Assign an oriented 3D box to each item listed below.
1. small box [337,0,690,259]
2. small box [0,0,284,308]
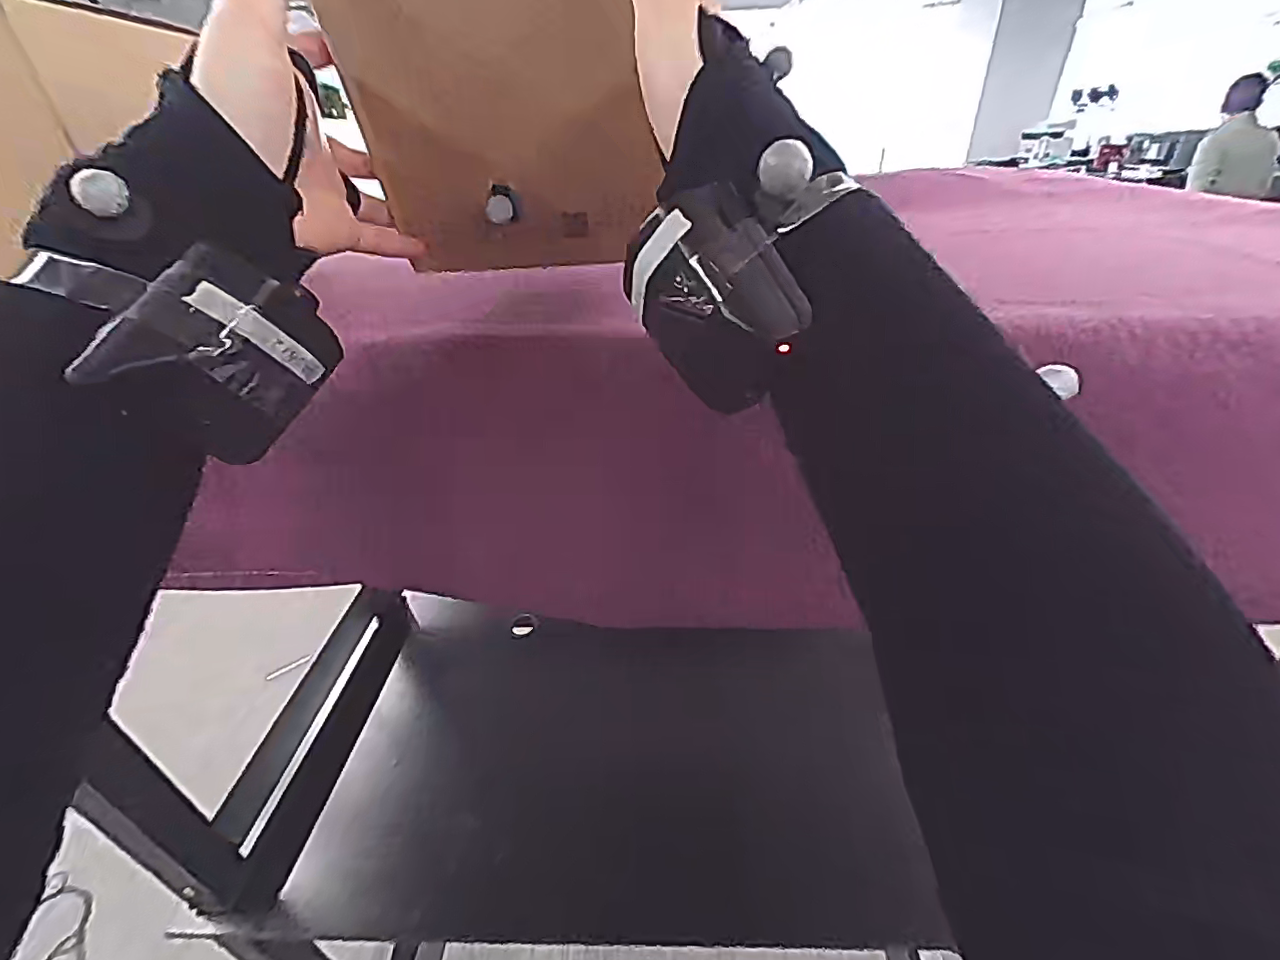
[{"bbox_3d":[-0.059,-0.251,0.319,0.168,0.176,0.179,-3,49,2],"label":"small box"},{"bbox_3d":[-0.397,-0.228,0.388,0.168,0.176,0.179,-2,32,2],"label":"small box"}]
